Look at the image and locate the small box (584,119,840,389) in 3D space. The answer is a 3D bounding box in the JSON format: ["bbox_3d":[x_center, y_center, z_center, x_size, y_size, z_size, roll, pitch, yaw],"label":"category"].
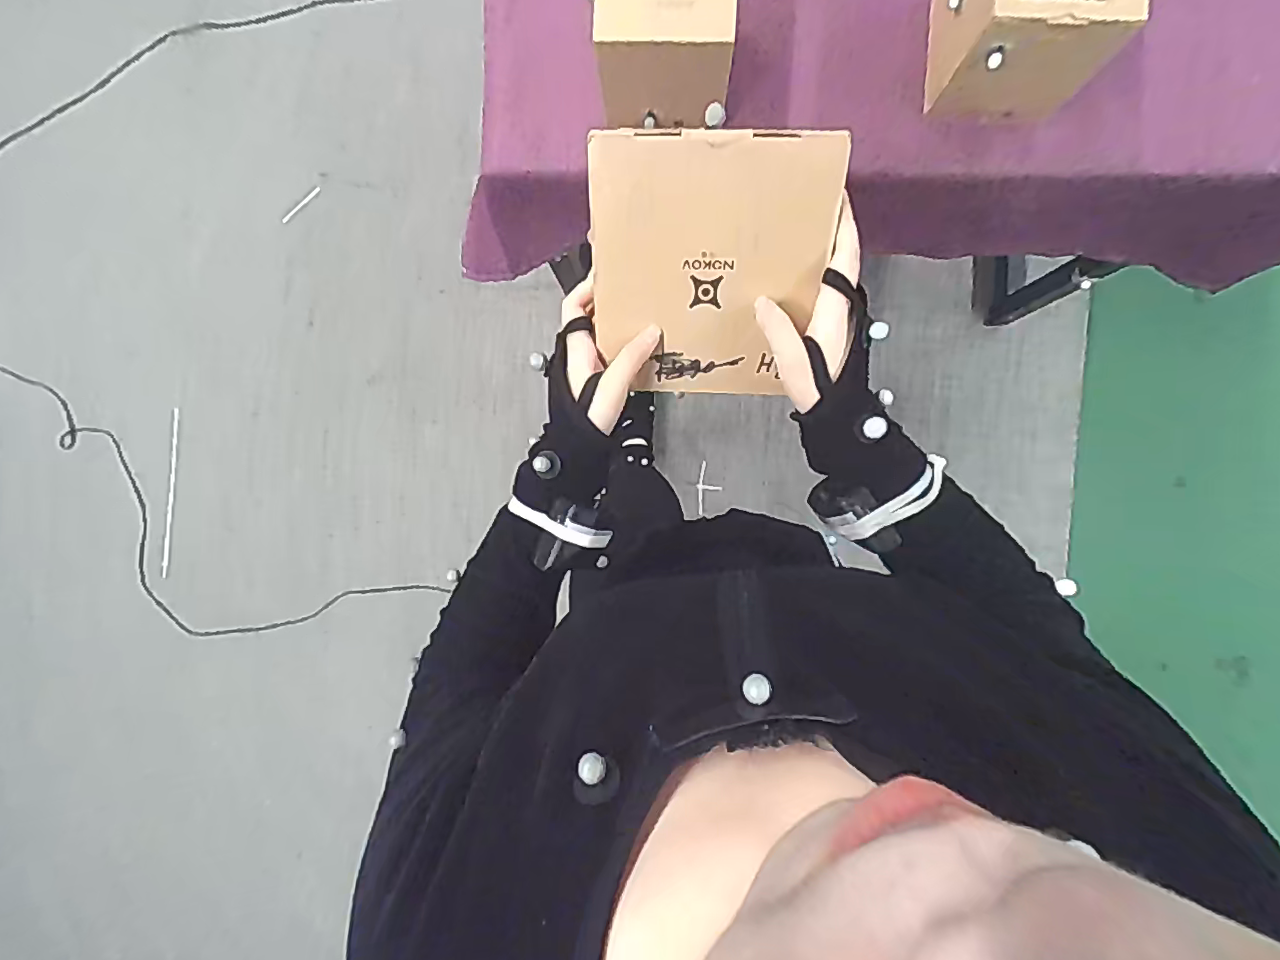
[{"bbox_3d":[0.050,-0.191,0.450,0.168,0.176,0.179,3,122,5],"label":"small box"}]

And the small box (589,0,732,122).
[{"bbox_3d":[0.030,-0.580,0.706,0.168,0.176,0.179,3,89,3],"label":"small box"}]
